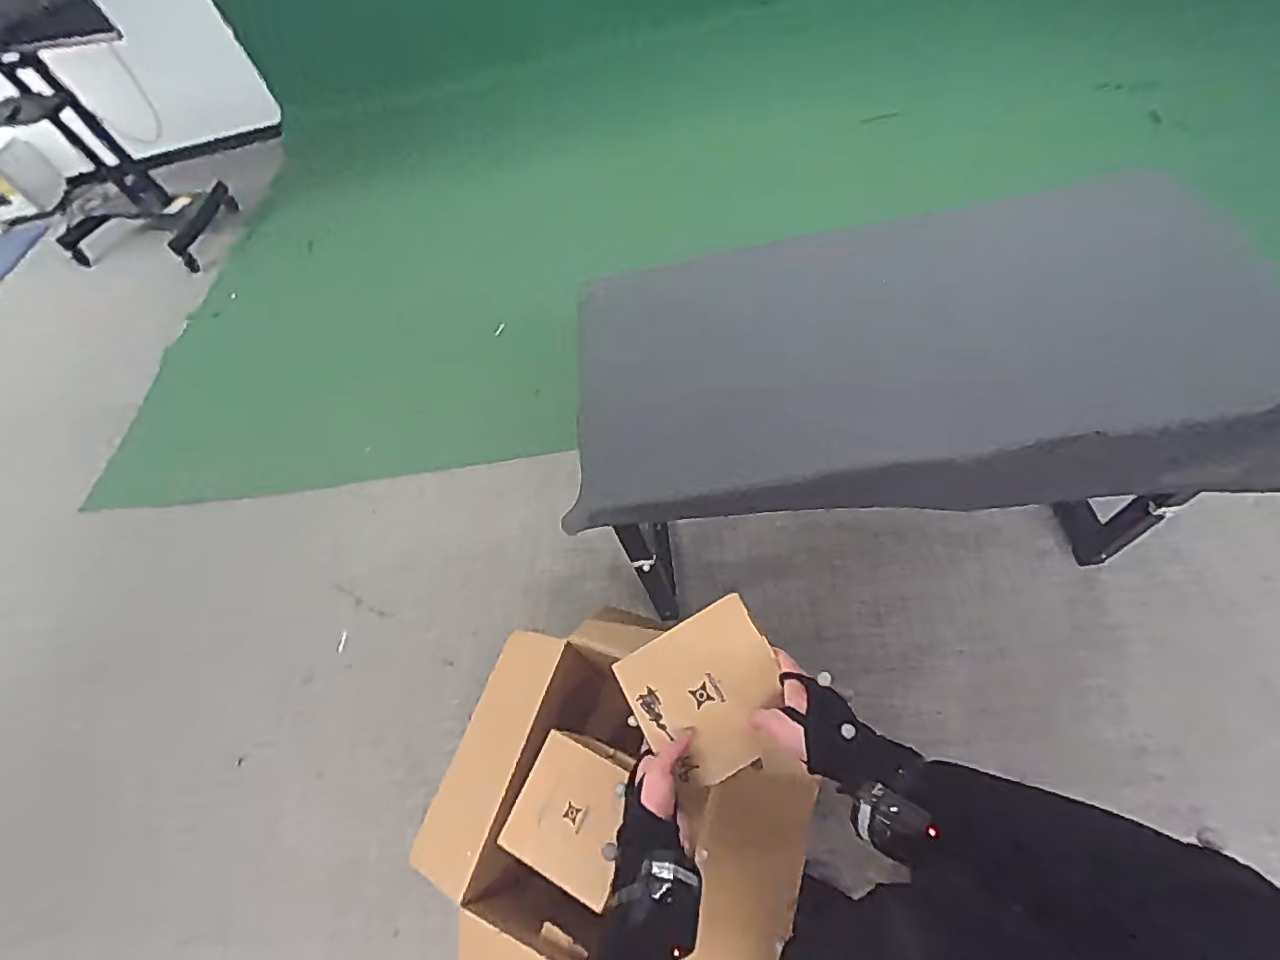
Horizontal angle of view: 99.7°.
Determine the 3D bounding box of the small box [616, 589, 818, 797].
[{"bbox_3d":[0.095,0.263,0.680,0.179,0.176,0.168,-30,64,-1],"label":"small box"}]
